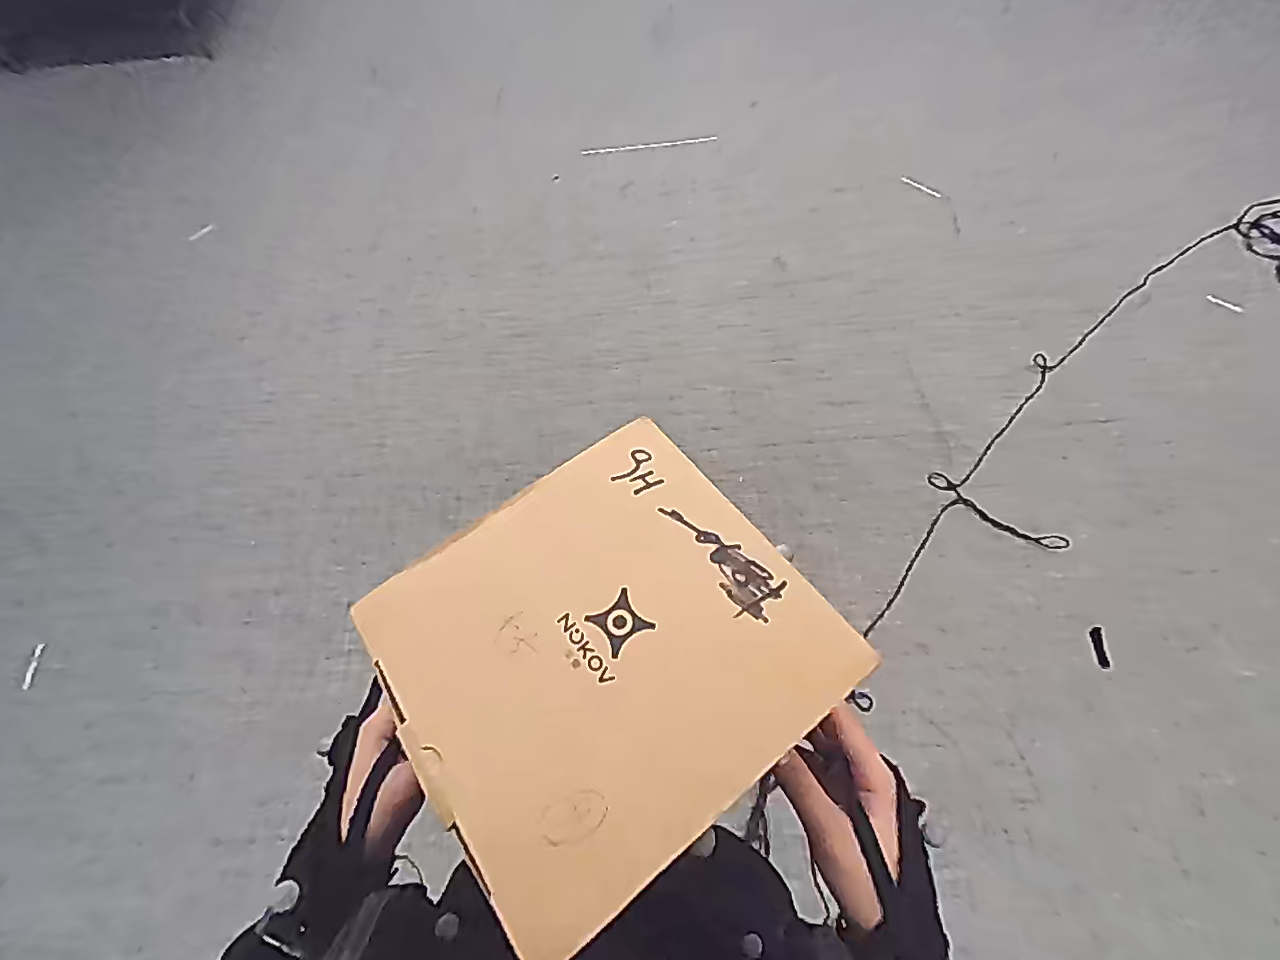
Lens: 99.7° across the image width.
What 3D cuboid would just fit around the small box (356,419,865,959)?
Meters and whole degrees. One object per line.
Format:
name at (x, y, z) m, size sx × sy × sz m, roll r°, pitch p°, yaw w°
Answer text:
small box at (-0.013, 0.106, 0.309) m, size 0.179 × 0.176 × 0.168 m, roll -34°, pitch 64°, yaw -15°
